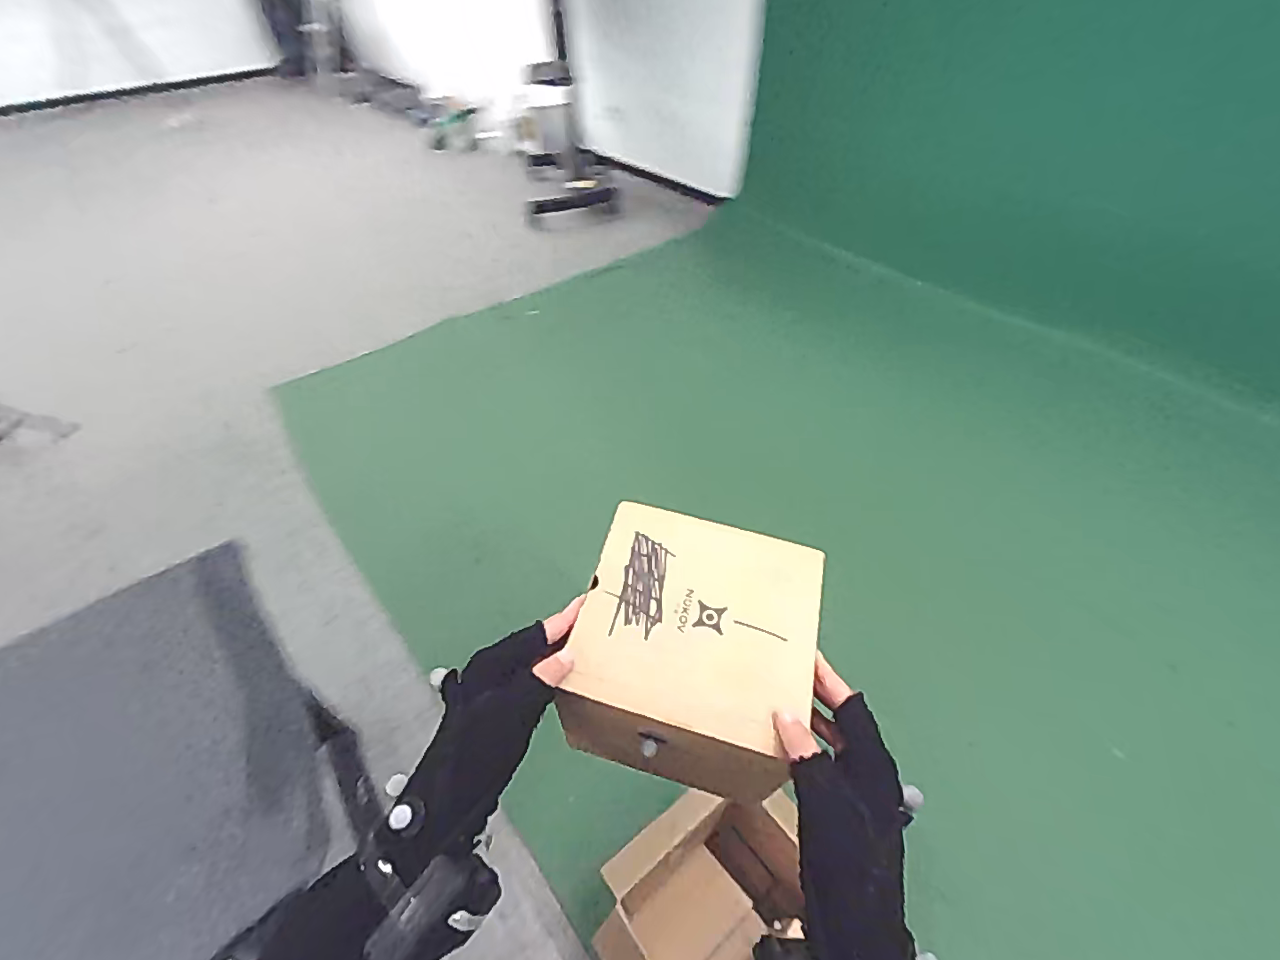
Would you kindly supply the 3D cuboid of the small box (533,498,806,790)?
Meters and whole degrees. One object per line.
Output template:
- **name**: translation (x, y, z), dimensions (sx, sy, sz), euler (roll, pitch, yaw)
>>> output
- **small box**: translation (0.028, 0.144, 0.462), dimensions (0.179, 0.176, 0.168), euler (13, 52, 7)
